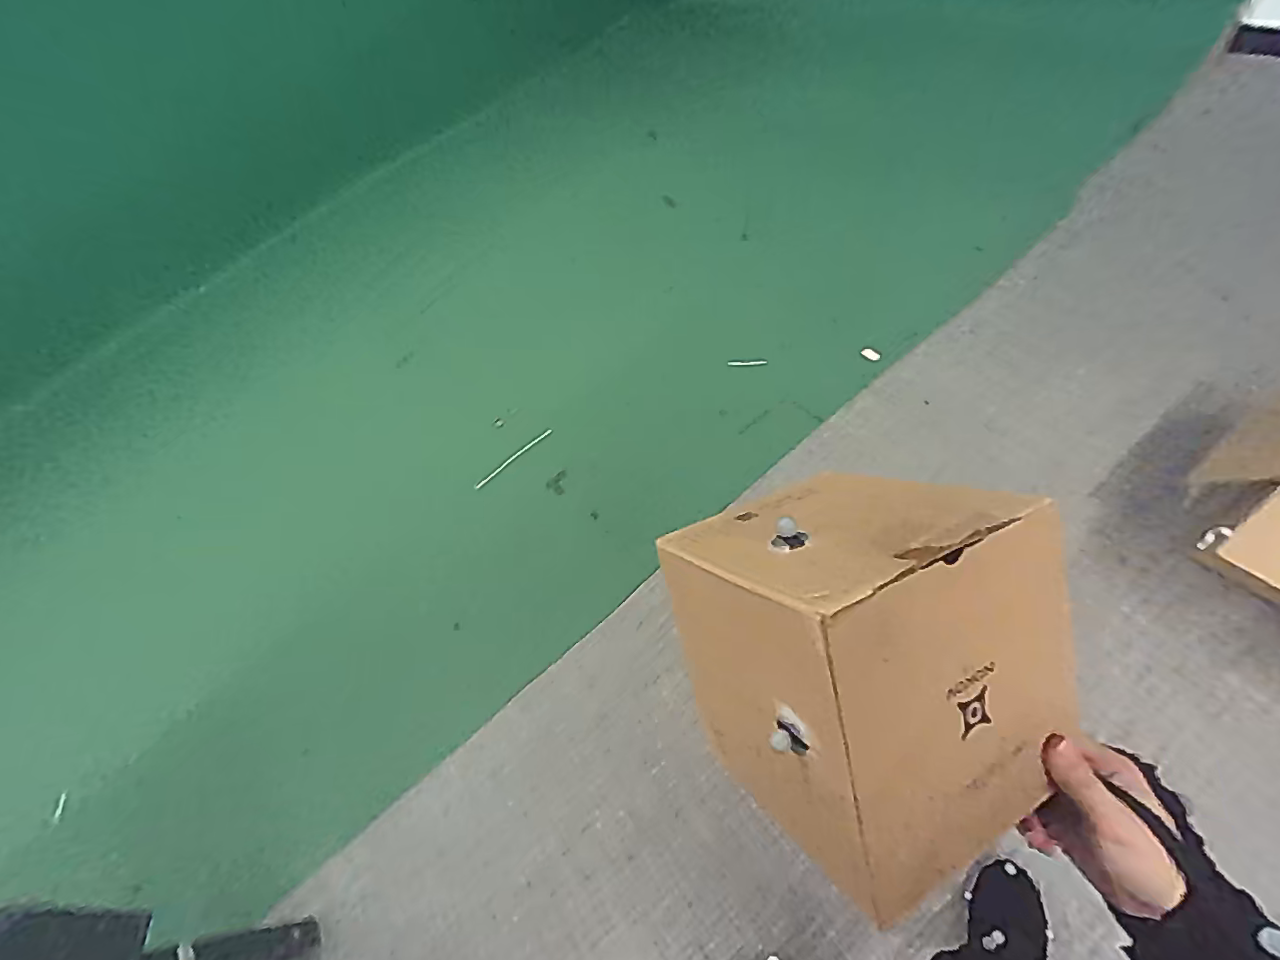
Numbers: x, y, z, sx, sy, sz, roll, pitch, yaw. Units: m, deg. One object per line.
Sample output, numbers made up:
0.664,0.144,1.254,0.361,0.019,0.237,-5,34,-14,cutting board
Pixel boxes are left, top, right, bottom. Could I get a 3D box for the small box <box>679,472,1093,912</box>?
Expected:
0.141,0.097,0.344,0.168,0.179,0.176,-17,13,-21,small box
